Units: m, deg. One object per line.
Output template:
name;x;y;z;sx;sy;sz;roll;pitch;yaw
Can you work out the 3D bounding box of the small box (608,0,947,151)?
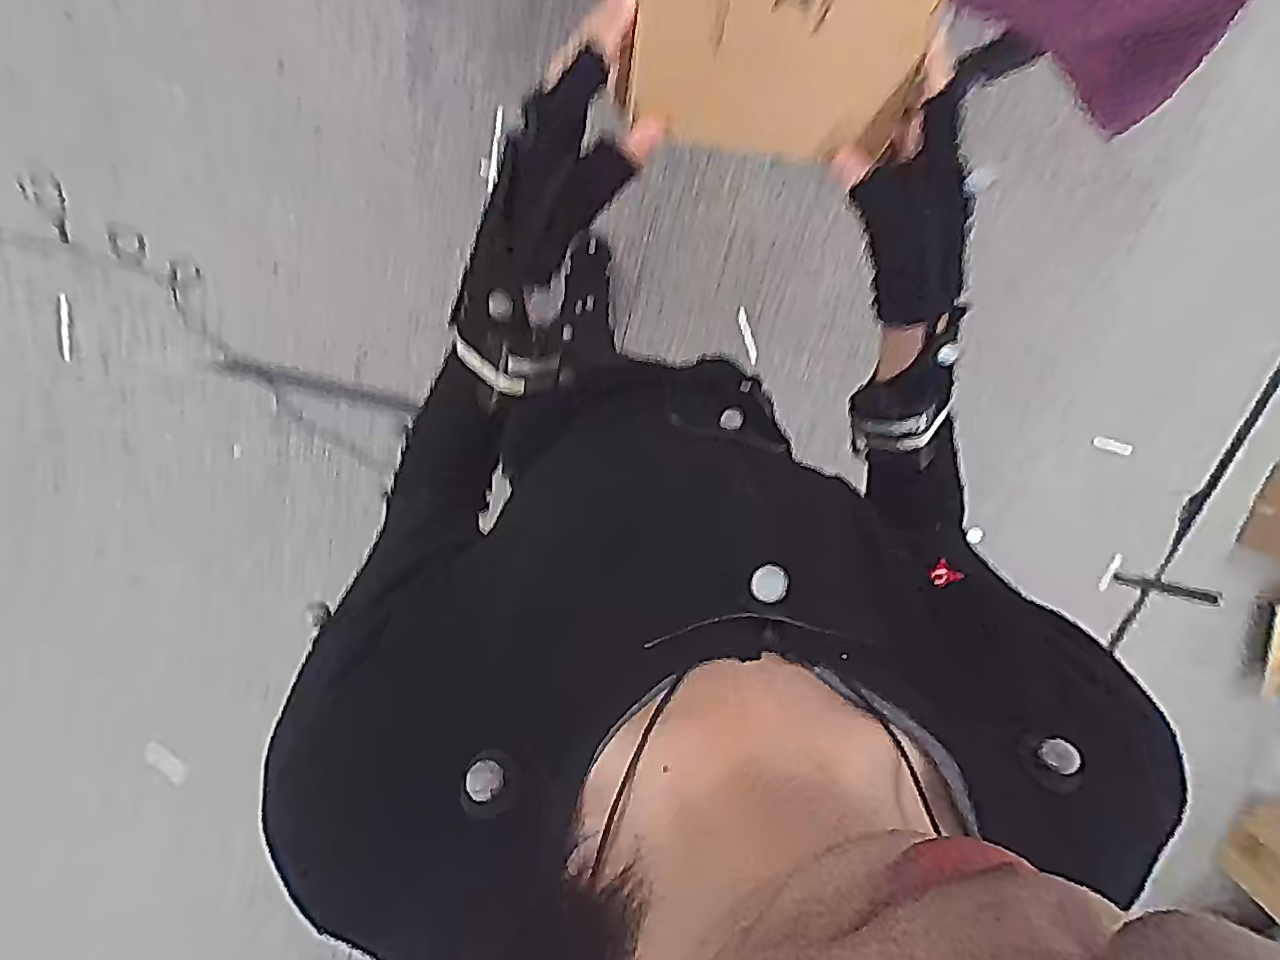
small box;0.080;-0.332;0.343;0.179;0.176;0.168;1;132;-11
